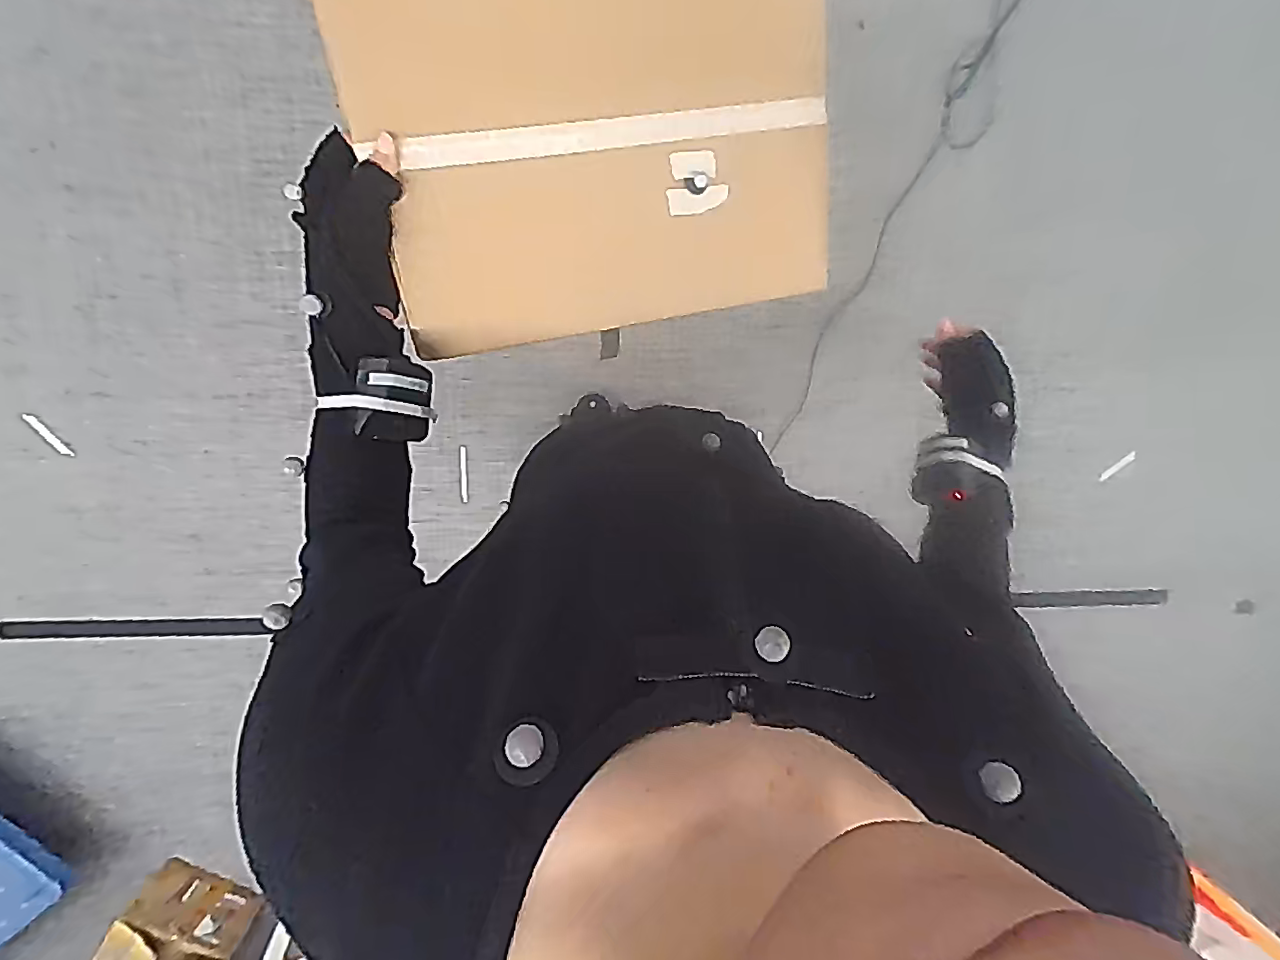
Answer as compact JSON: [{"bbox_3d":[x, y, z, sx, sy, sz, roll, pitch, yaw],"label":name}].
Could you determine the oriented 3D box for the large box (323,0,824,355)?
[{"bbox_3d":[-0.064,-0.344,0.592,0.408,0.320,0.320,-14,114,-13],"label":"large box"}]
